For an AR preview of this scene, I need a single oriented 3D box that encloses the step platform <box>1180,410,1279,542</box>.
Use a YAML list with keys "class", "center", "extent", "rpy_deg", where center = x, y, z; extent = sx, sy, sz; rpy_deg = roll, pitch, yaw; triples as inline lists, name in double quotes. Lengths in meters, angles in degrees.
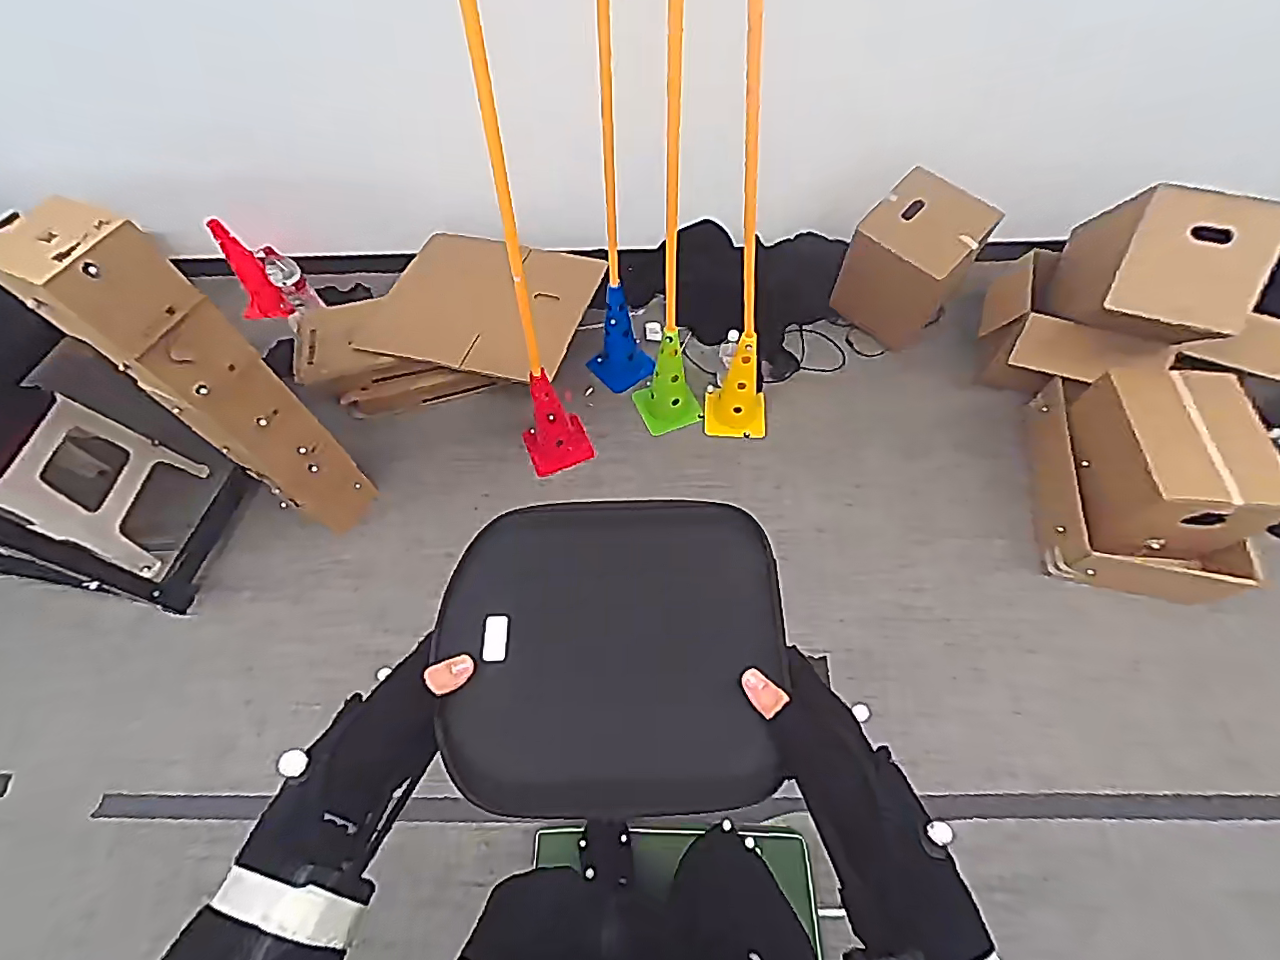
- class: "step platform"
  center: [2.025, -0.091, 1.622]
  extent: [0.684, 0.204, 0.286]
  rpy_deg: [-26, 63, -12]
